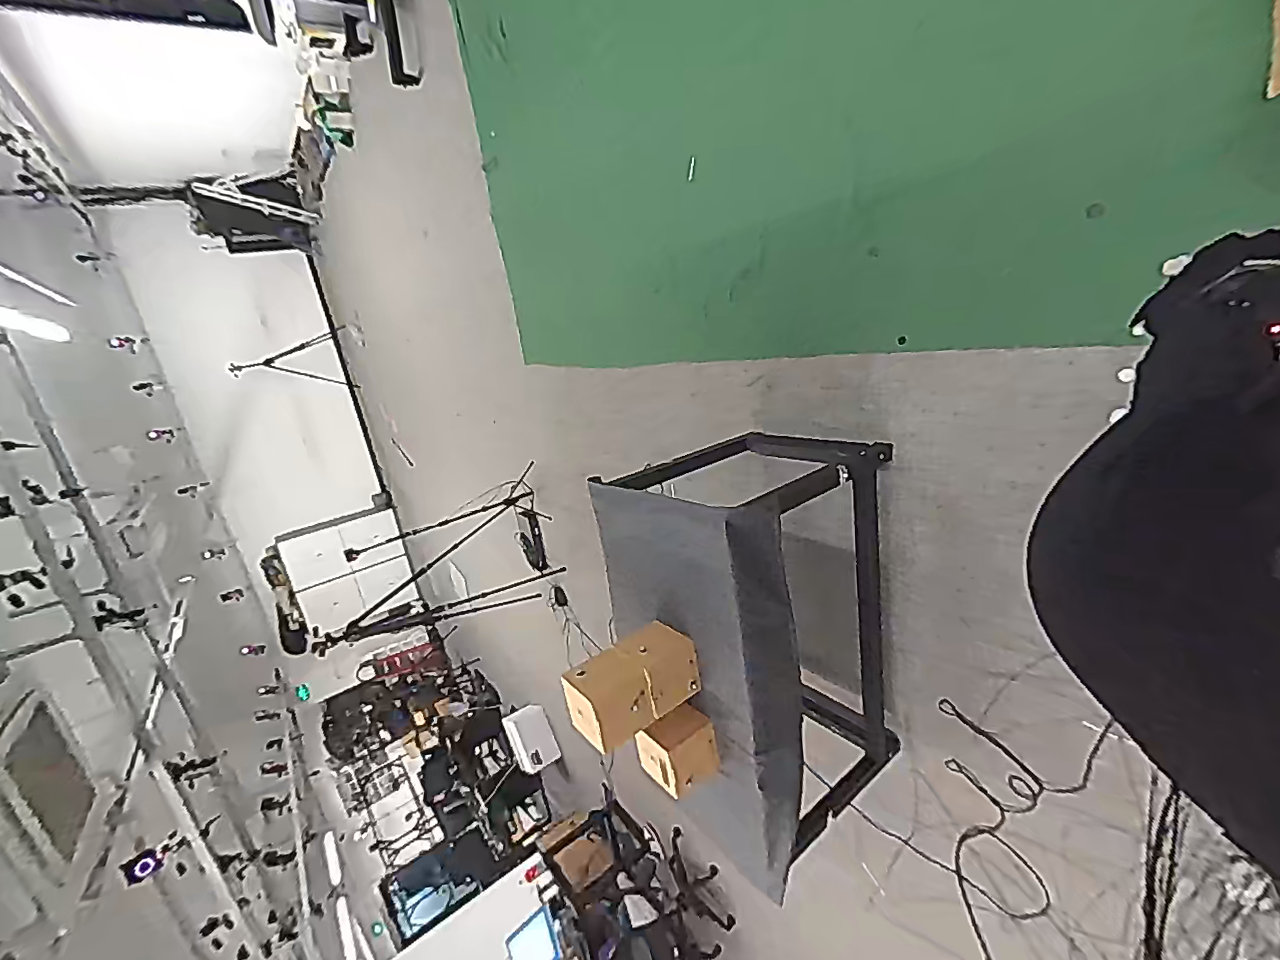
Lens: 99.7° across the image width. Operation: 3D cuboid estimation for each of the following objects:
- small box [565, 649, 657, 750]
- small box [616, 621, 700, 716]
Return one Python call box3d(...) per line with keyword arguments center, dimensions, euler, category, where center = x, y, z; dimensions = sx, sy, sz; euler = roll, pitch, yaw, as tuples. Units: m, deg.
box3d(center=(-0.078, 0.589, 1.480), dimensions=(0.179, 0.176, 0.168), euler=(9, 115, 54), category="small box")
box3d(center=(0.059, 0.530, 1.551), dimensions=(0.179, 0.176, 0.168), euler=(12, 117, 54), category="small box")
